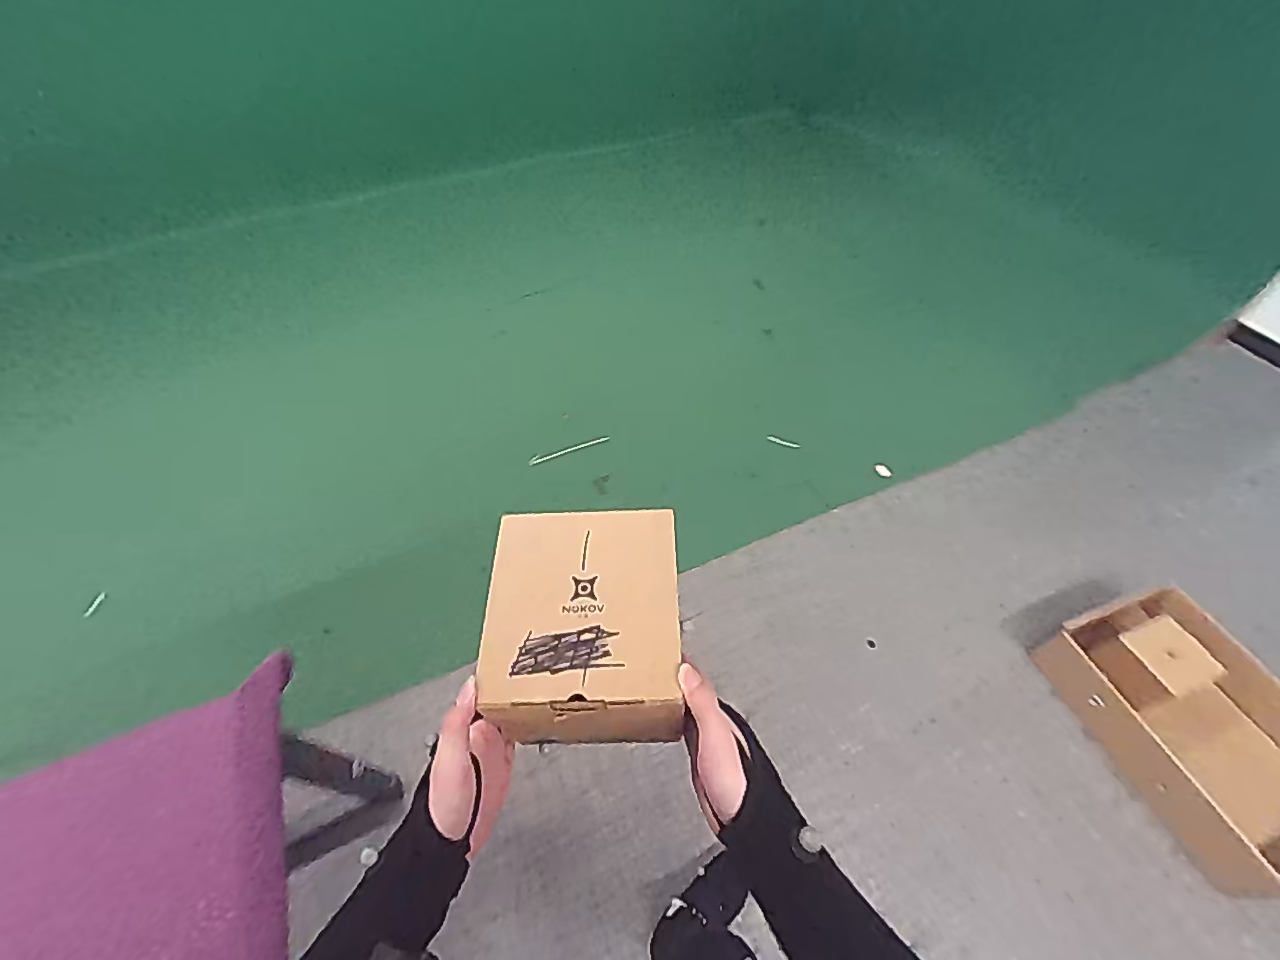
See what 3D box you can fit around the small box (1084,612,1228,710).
[{"bbox_3d":[1.335,0.475,1.415,0.179,0.176,0.168,-17,54,-11],"label":"small box"}]
